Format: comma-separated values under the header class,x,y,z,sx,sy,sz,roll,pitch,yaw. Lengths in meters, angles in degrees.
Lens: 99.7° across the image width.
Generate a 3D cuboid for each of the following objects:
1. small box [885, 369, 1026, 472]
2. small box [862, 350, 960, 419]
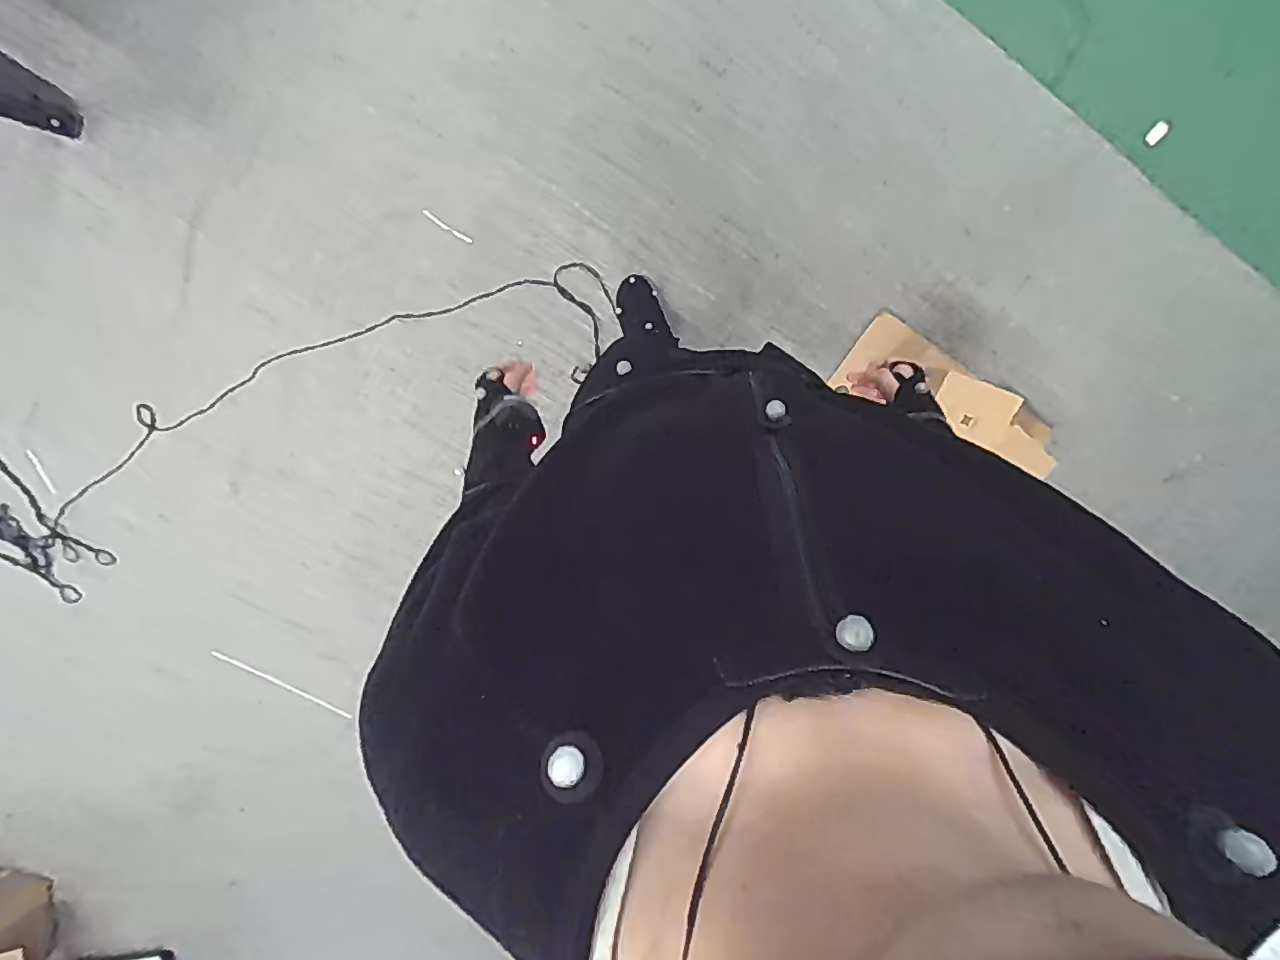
class,x,y,z,sx,sy,sz,roll,pitch,yaw
small box,0.687,-0.140,1.201,0.179,0.176,0.168,20,106,-5
small box,0.693,-0.211,1.351,0.179,0.176,0.168,37,106,-10
